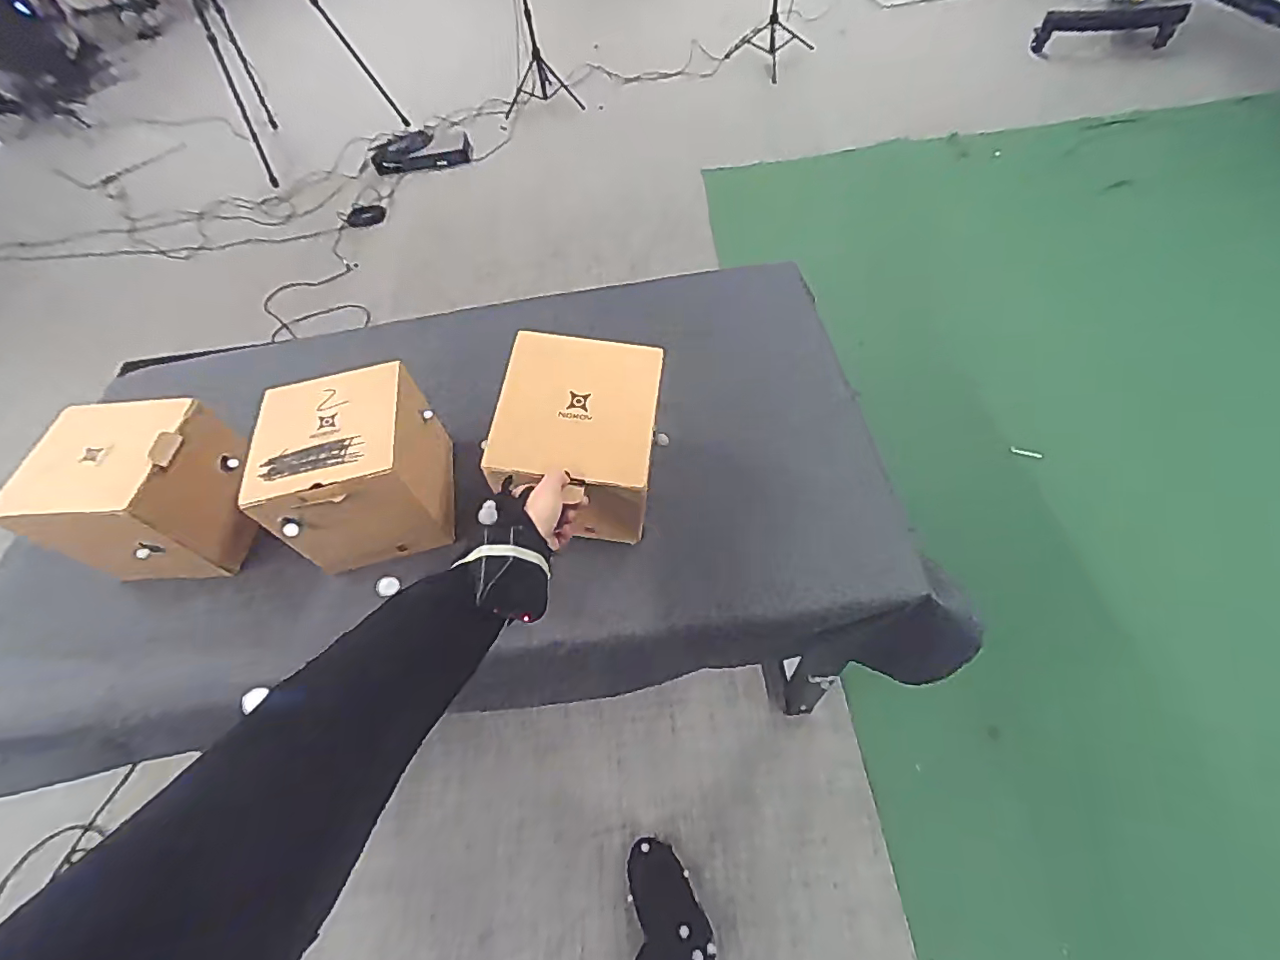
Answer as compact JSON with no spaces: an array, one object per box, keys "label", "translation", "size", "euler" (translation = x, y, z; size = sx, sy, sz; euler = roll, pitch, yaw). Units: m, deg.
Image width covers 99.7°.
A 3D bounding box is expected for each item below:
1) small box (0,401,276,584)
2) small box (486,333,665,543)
[{"label":"small box","translation":[-0.614,0.022,0.685],"size":[0.179,0.176,0.168],"euler":[-4,54,5]},{"label":"small box","translation":[-0.068,-0.042,0.640],"size":[0.168,0.176,0.179],"euler":[7,64,0]}]
